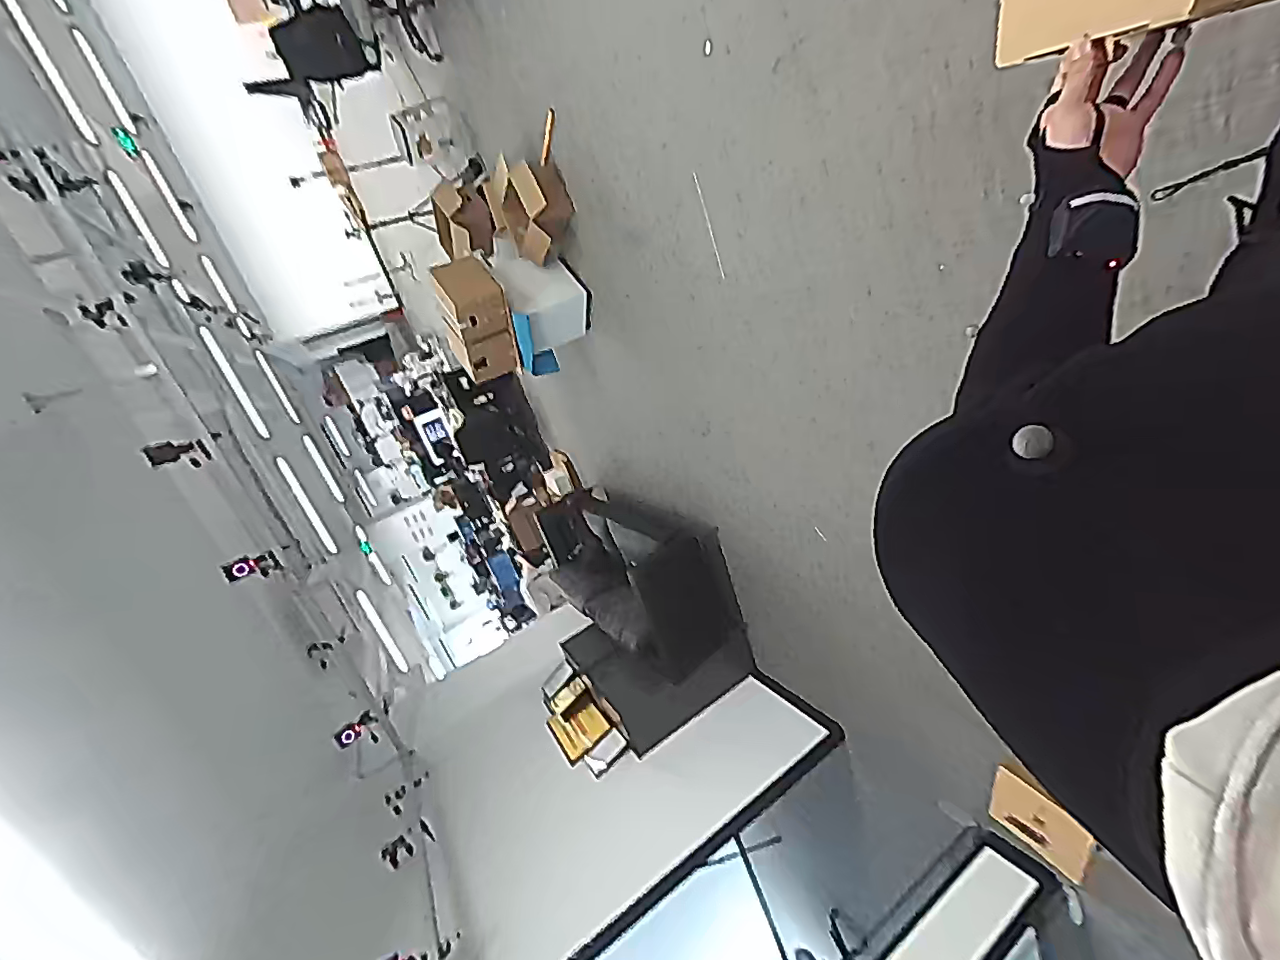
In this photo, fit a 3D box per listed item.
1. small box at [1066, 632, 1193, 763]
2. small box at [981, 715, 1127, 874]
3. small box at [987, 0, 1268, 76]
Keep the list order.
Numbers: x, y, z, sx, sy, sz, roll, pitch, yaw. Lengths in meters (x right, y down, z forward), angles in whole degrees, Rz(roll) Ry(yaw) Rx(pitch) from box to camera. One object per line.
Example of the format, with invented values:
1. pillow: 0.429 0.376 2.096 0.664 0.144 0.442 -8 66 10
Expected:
1. small box: 1.083 0.477 1.201 0.168 0.176 0.179 19 131 58
2. small box: 0.816 0.614 1.072 0.168 0.176 0.179 31 140 52
3. small box: 0.447 -0.493 0.474 0.168 0.176 0.179 44 152 57
